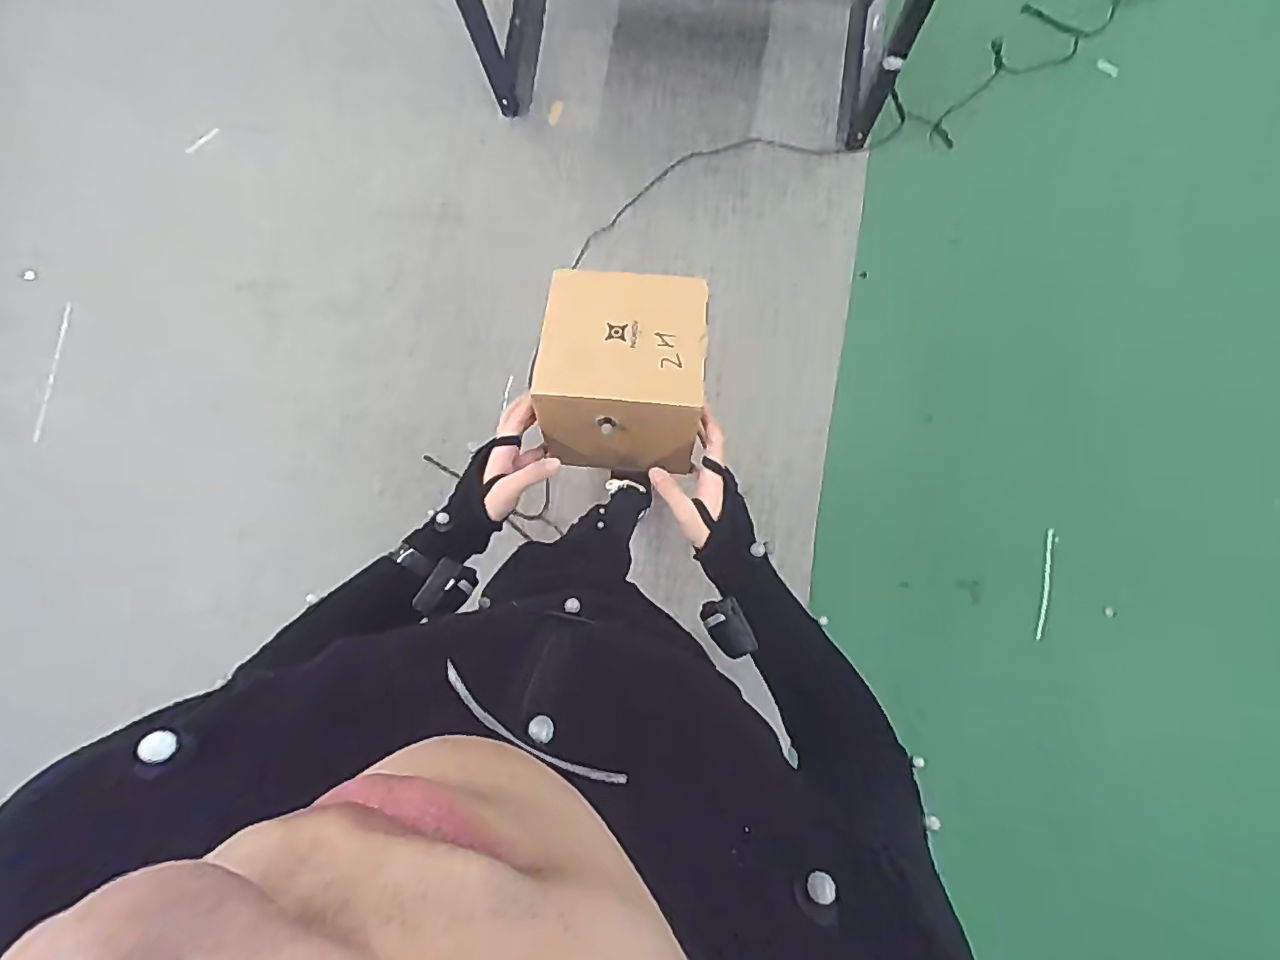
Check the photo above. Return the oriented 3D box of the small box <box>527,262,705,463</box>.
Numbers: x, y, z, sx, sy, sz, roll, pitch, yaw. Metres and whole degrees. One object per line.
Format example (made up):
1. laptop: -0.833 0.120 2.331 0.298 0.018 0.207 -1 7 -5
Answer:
1. small box: -0.021 -0.130 0.641 0.179 0.176 0.168 5 66 1
